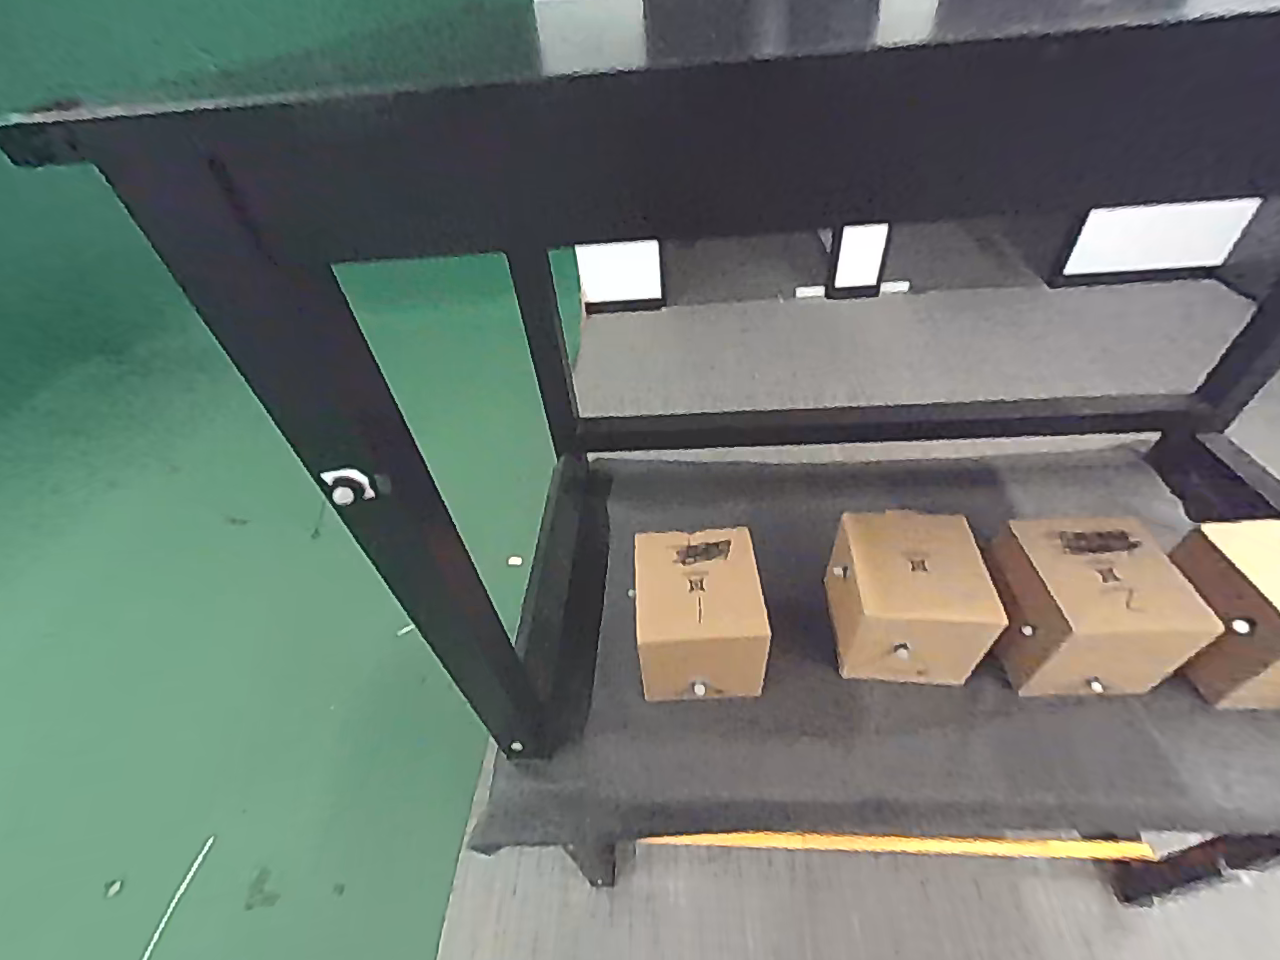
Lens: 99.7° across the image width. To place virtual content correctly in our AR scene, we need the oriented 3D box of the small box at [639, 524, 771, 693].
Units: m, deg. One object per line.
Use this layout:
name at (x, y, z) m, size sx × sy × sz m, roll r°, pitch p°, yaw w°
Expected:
small box at (0.084, 0.184, 0.778) m, size 0.168 × 0.176 × 0.179 m, roll -4°, pitch 45°, yaw 3°

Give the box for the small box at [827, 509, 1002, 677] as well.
small box at (0.372, 0.162, 0.771) m, size 0.168 × 0.176 × 0.179 m, roll 1°, pitch 44°, yaw 8°

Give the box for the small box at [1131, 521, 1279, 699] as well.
small box at (0.815, 0.173, 0.705) m, size 0.168 × 0.176 × 0.179 m, roll -2°, pitch 44°, yaw 4°
